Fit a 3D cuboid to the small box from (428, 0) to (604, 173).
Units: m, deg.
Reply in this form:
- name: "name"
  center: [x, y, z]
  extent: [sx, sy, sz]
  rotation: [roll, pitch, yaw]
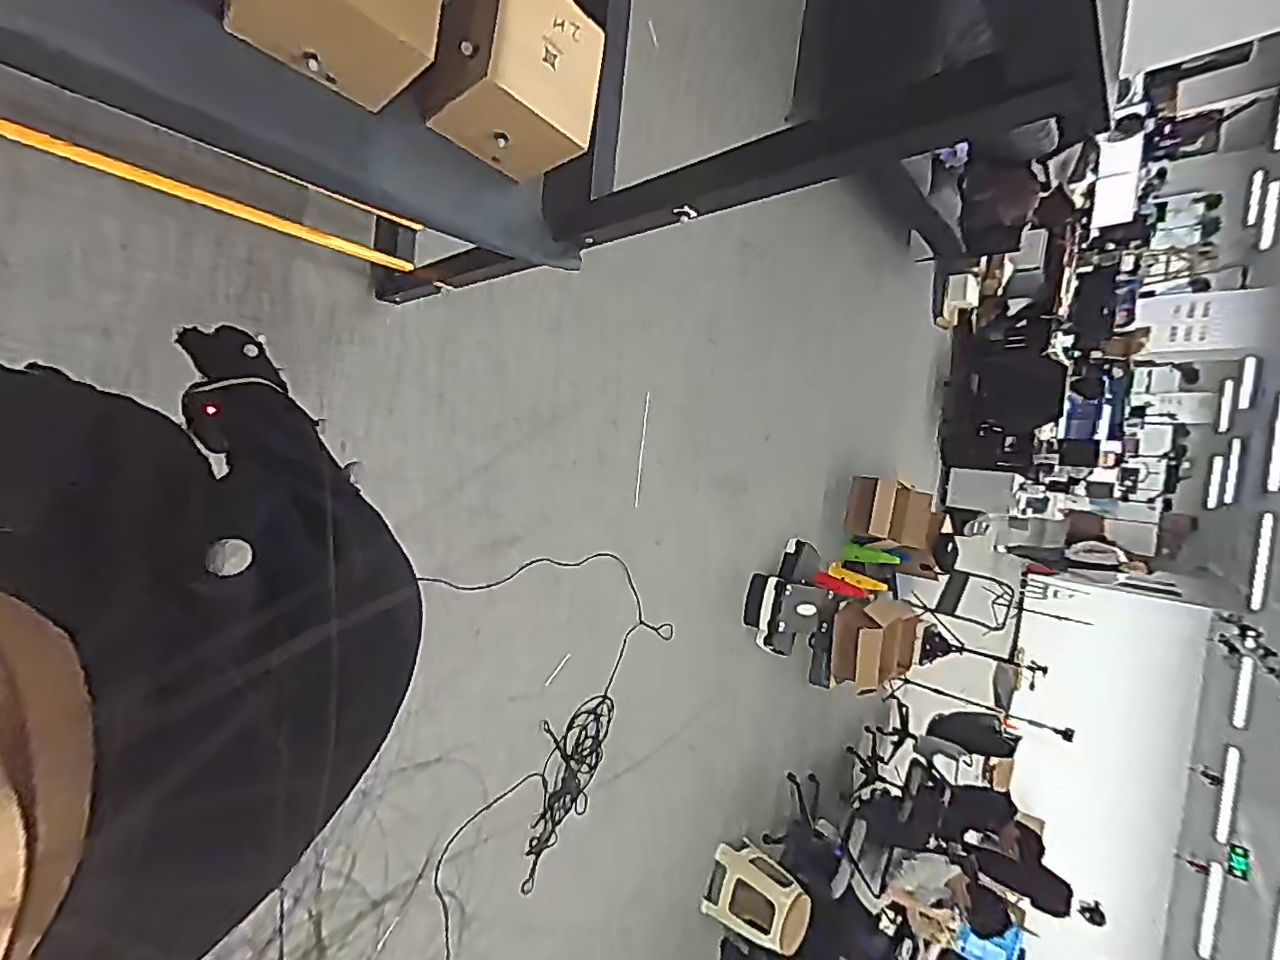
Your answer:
- name: "small box"
  center: [-0.177, -0.572, 0.761]
  extent: [0.168, 0.176, 0.179]
  rotation: [10, 88, -47]
